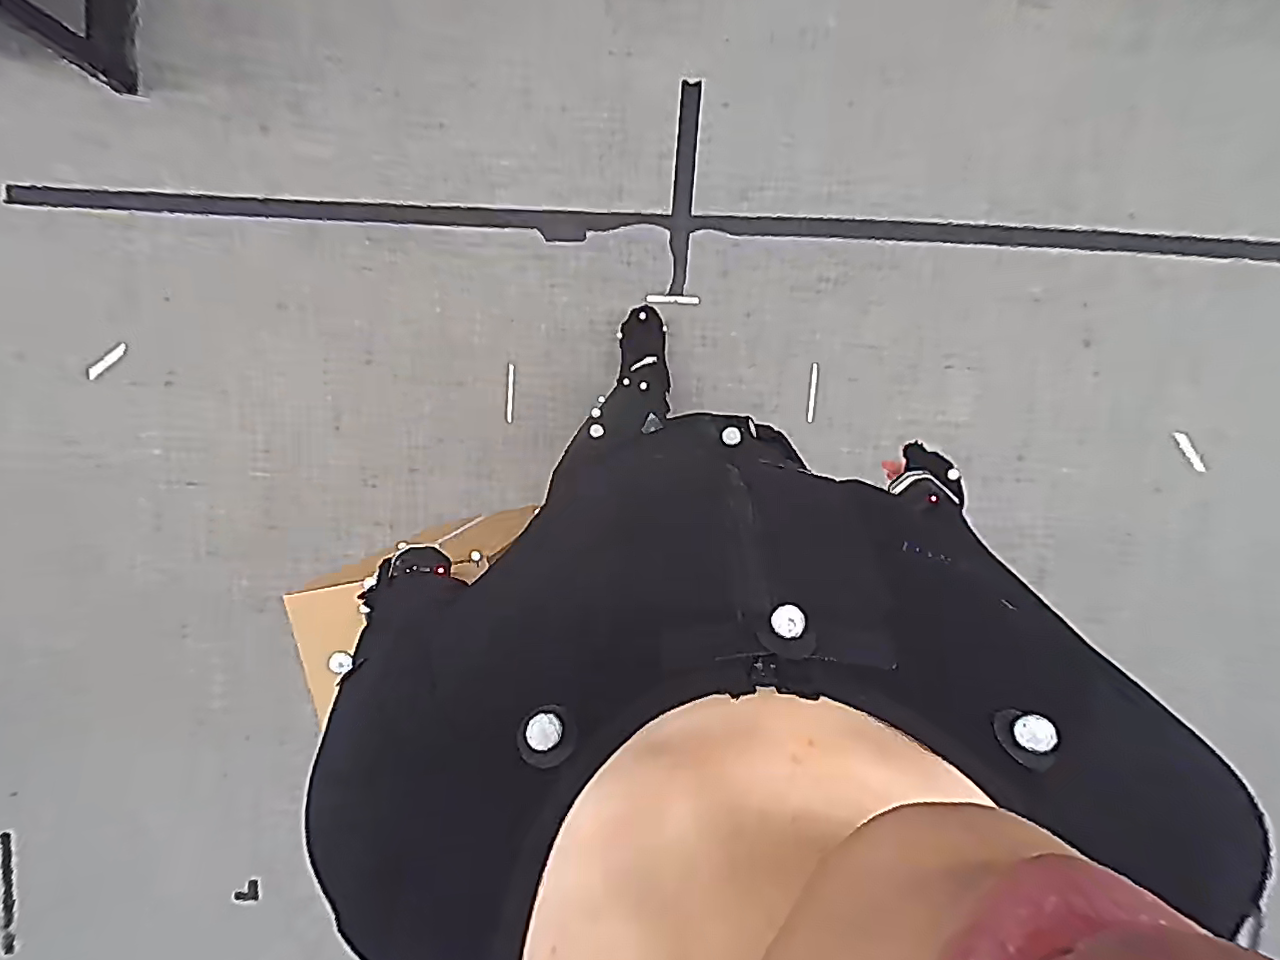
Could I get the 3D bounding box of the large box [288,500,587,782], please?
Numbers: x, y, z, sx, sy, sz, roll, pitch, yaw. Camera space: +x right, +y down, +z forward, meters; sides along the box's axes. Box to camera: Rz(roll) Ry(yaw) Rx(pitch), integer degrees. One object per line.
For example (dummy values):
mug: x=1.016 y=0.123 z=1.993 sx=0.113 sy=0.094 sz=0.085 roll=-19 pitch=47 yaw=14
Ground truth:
large box: x=-0.303 y=0.245 z=0.954 sx=0.320 sy=0.408 sz=0.320 roll=-12 pitch=98 yaw=8
